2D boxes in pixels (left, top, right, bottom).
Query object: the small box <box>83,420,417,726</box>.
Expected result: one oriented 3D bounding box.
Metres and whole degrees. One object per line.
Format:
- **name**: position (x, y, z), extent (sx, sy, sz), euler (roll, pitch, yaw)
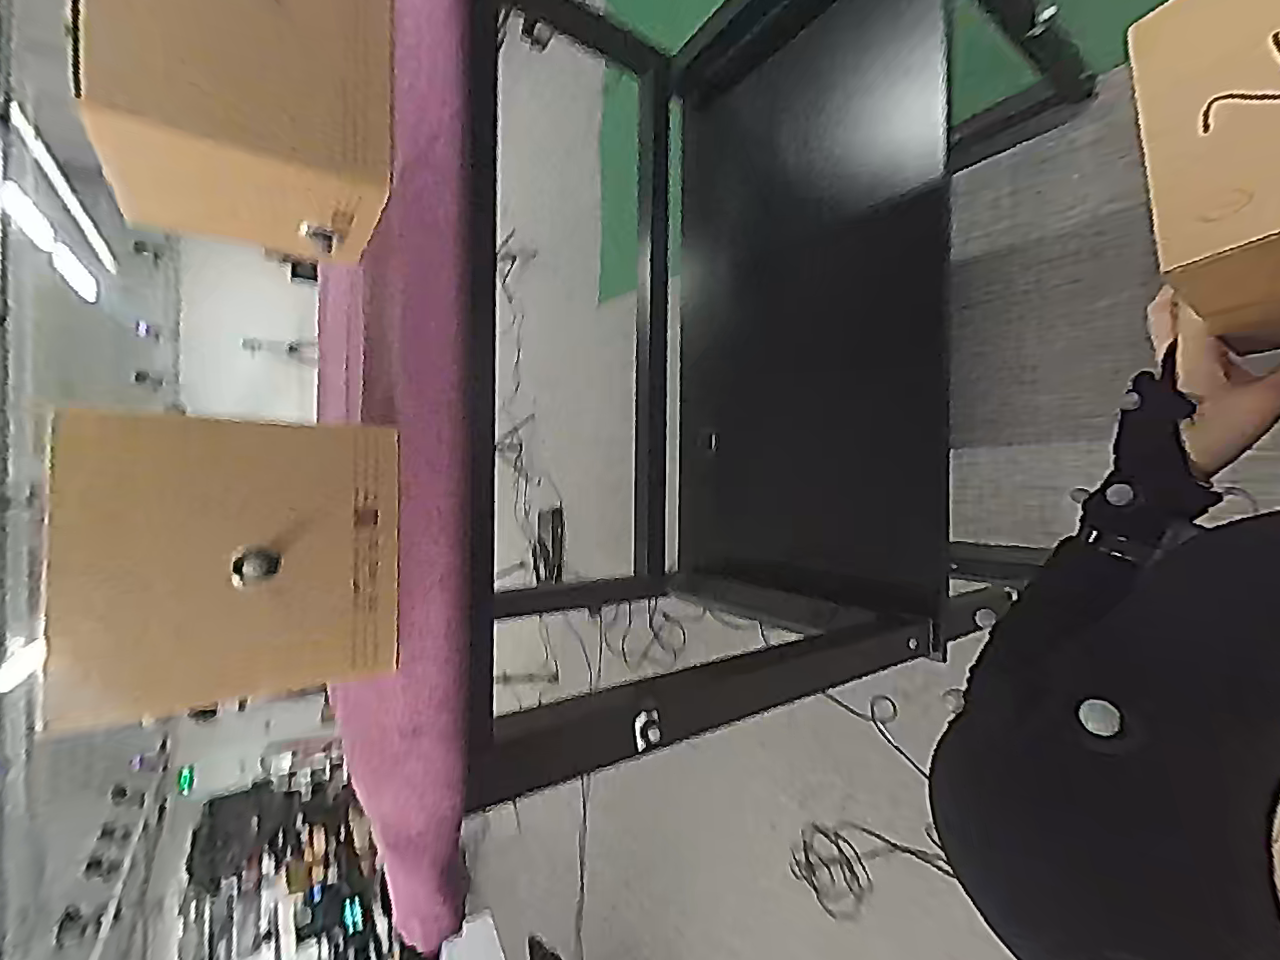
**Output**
- **small box**: position (-0.268, 0.051, 0.395), extent (0.179, 0.176, 0.168), euler (-5, 85, 54)
